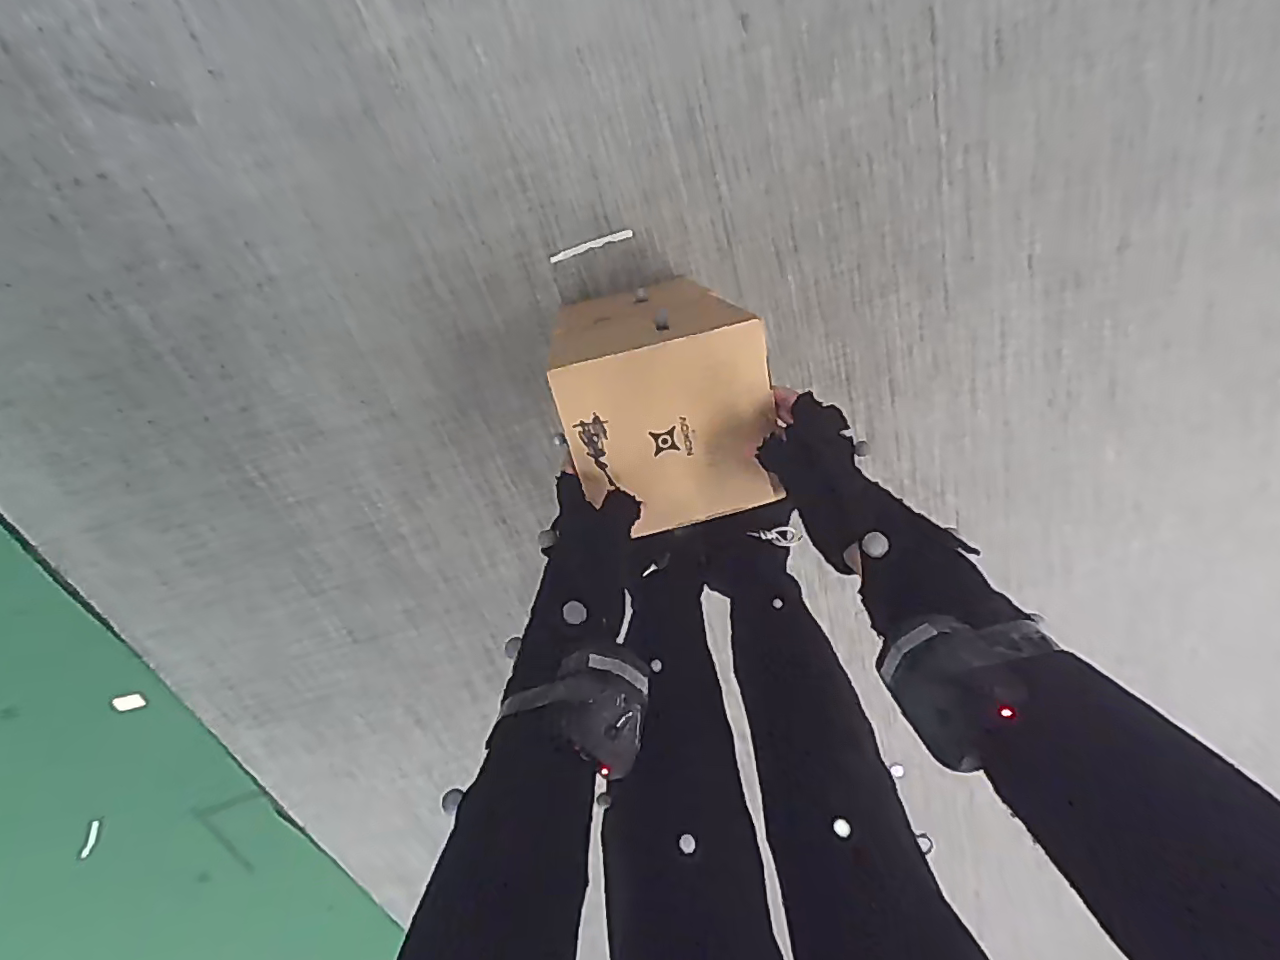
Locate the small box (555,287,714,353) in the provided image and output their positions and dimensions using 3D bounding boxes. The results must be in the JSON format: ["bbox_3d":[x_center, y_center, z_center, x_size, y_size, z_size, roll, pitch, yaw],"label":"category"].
[{"bbox_3d":[0.001,-0.134,0.675,0.179,0.176,0.168,-13,115,1],"label":"small box"}]

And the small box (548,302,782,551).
[{"bbox_3d":[0.019,-0.062,0.530,0.179,0.176,0.168,-16,117,2],"label":"small box"}]
